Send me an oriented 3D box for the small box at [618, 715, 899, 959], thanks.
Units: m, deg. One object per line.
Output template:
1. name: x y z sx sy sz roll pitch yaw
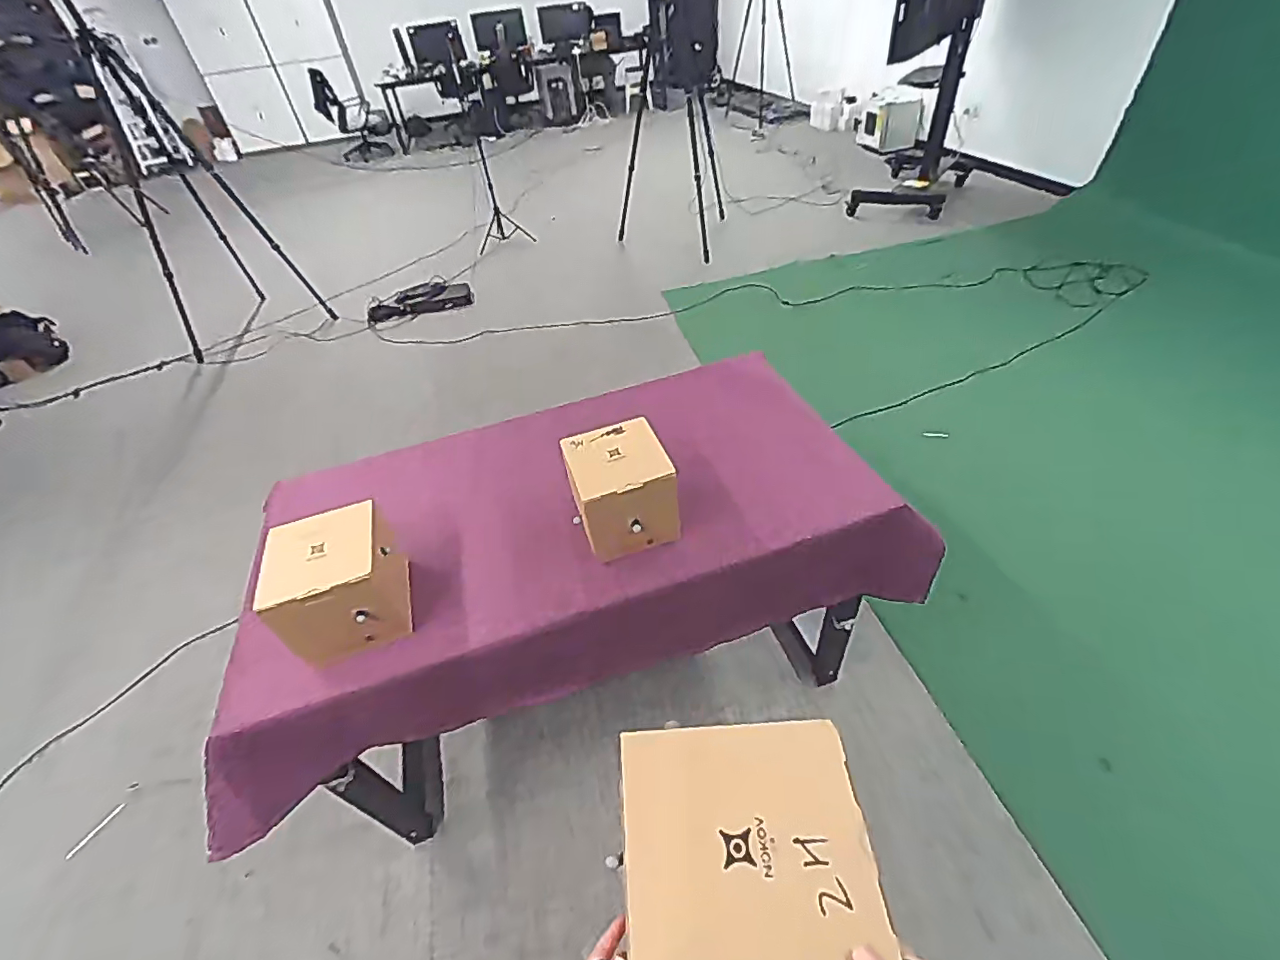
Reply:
1. small box: 0.073 0.306 0.444 0.179 0.176 0.168 -2 51 -4

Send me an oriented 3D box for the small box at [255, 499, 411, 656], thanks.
1. small box: -0.493 0.167 0.896 0.168 0.176 0.179 -17 44 -11

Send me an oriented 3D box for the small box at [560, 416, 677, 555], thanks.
1. small box: -0.036 0.016 0.990 0.168 0.176 0.179 -17 45 -9
